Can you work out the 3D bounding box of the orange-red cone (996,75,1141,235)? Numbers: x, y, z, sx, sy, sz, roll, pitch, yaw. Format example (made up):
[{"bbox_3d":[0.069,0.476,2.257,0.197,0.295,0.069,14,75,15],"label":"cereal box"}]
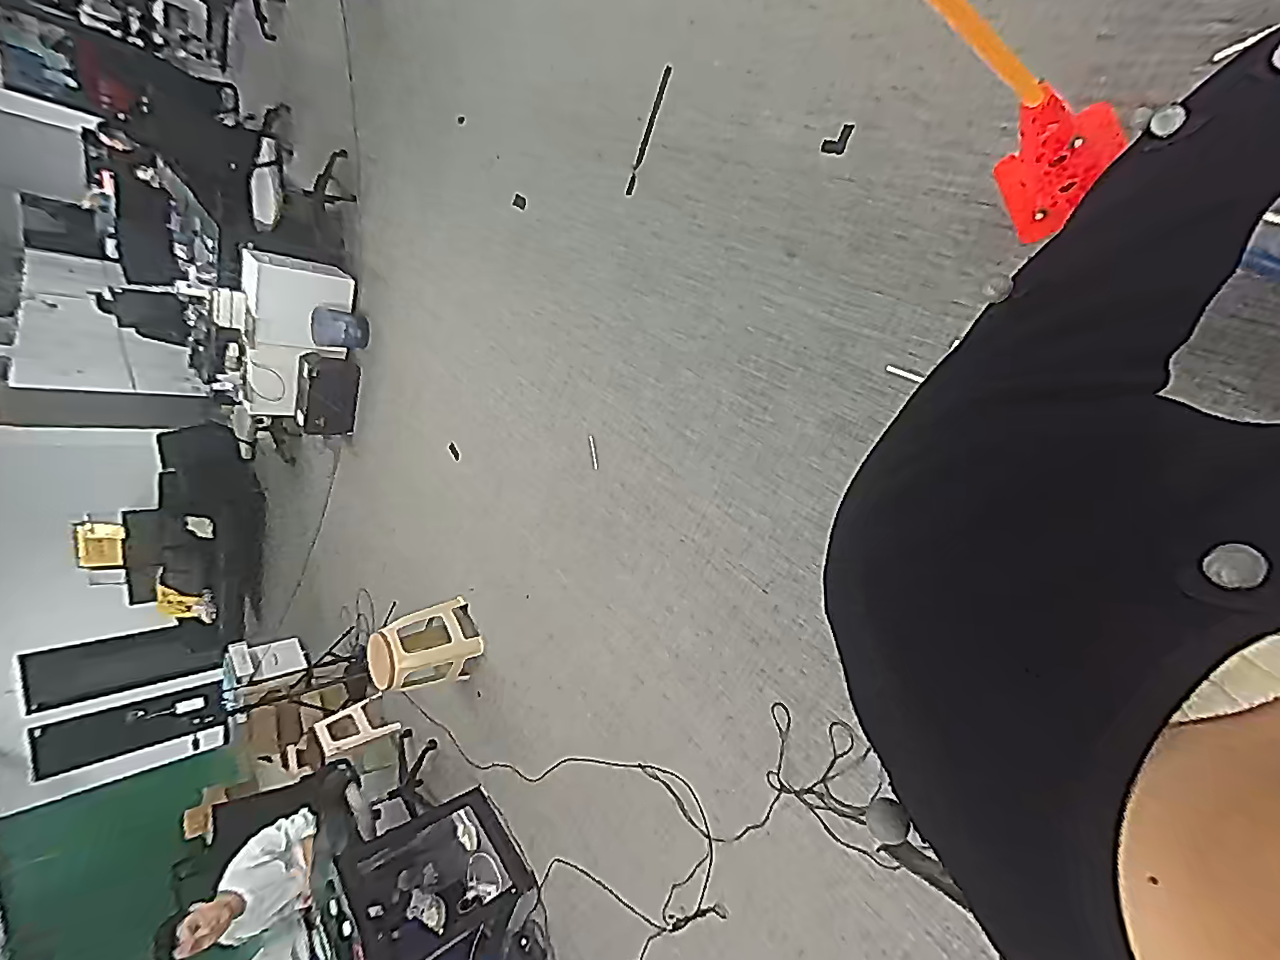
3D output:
[{"bbox_3d":[0.721,-0.606,0.944,0.199,0.360,0.198,-20,80,42],"label":"orange-red cone"}]
